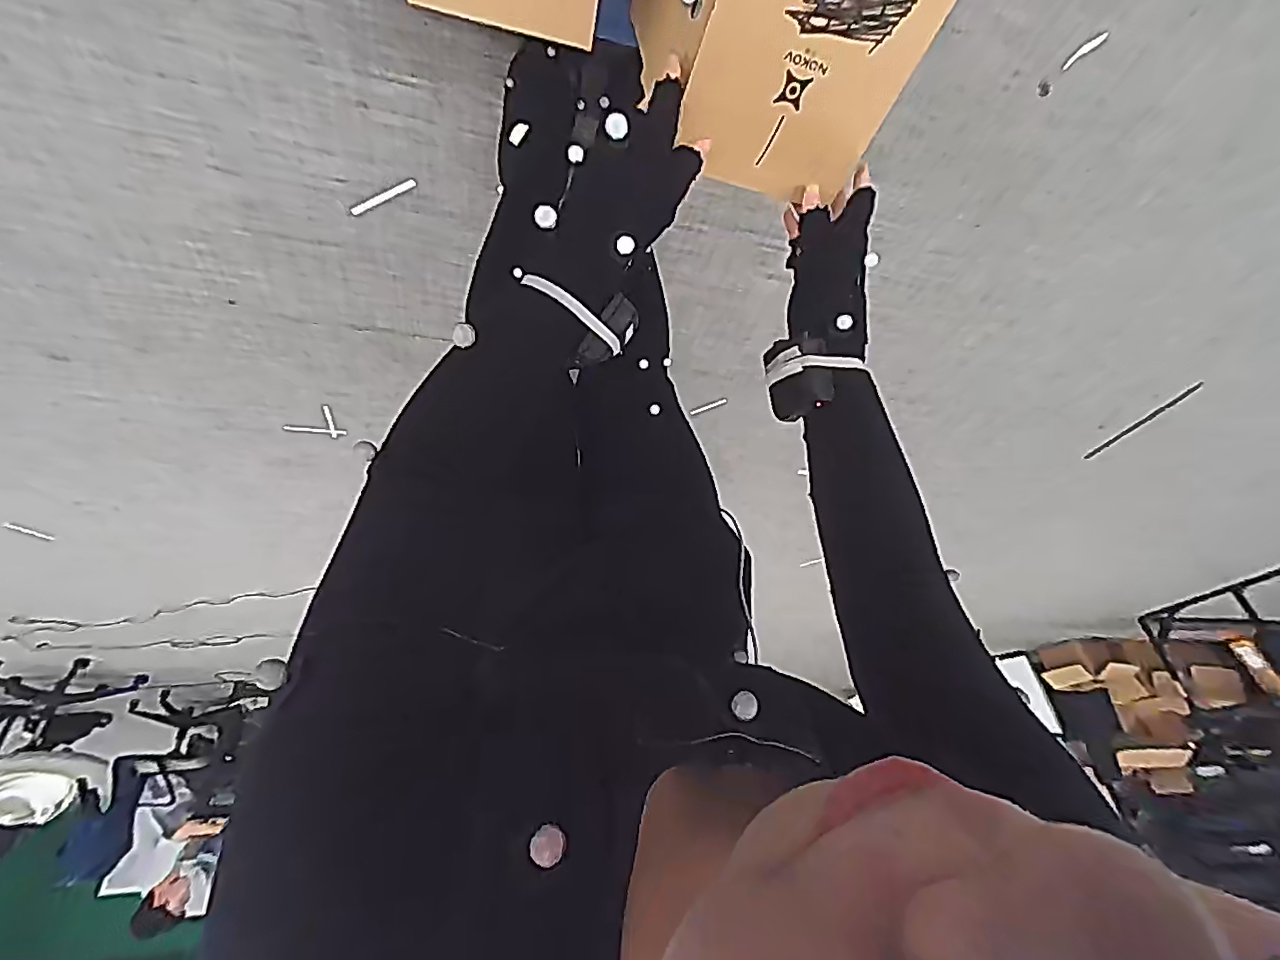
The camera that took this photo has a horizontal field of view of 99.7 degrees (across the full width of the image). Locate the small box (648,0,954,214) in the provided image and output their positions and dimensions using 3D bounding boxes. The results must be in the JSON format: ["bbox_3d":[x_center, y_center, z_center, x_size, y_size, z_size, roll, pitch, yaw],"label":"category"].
[{"bbox_3d":[0.112,-0.368,0.455,0.168,0.176,0.179,6,145,-18],"label":"small box"}]

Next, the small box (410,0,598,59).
[{"bbox_3d":[-0.112,-0.526,0.478,0.168,0.176,0.179,3,145,-15],"label":"small box"}]
